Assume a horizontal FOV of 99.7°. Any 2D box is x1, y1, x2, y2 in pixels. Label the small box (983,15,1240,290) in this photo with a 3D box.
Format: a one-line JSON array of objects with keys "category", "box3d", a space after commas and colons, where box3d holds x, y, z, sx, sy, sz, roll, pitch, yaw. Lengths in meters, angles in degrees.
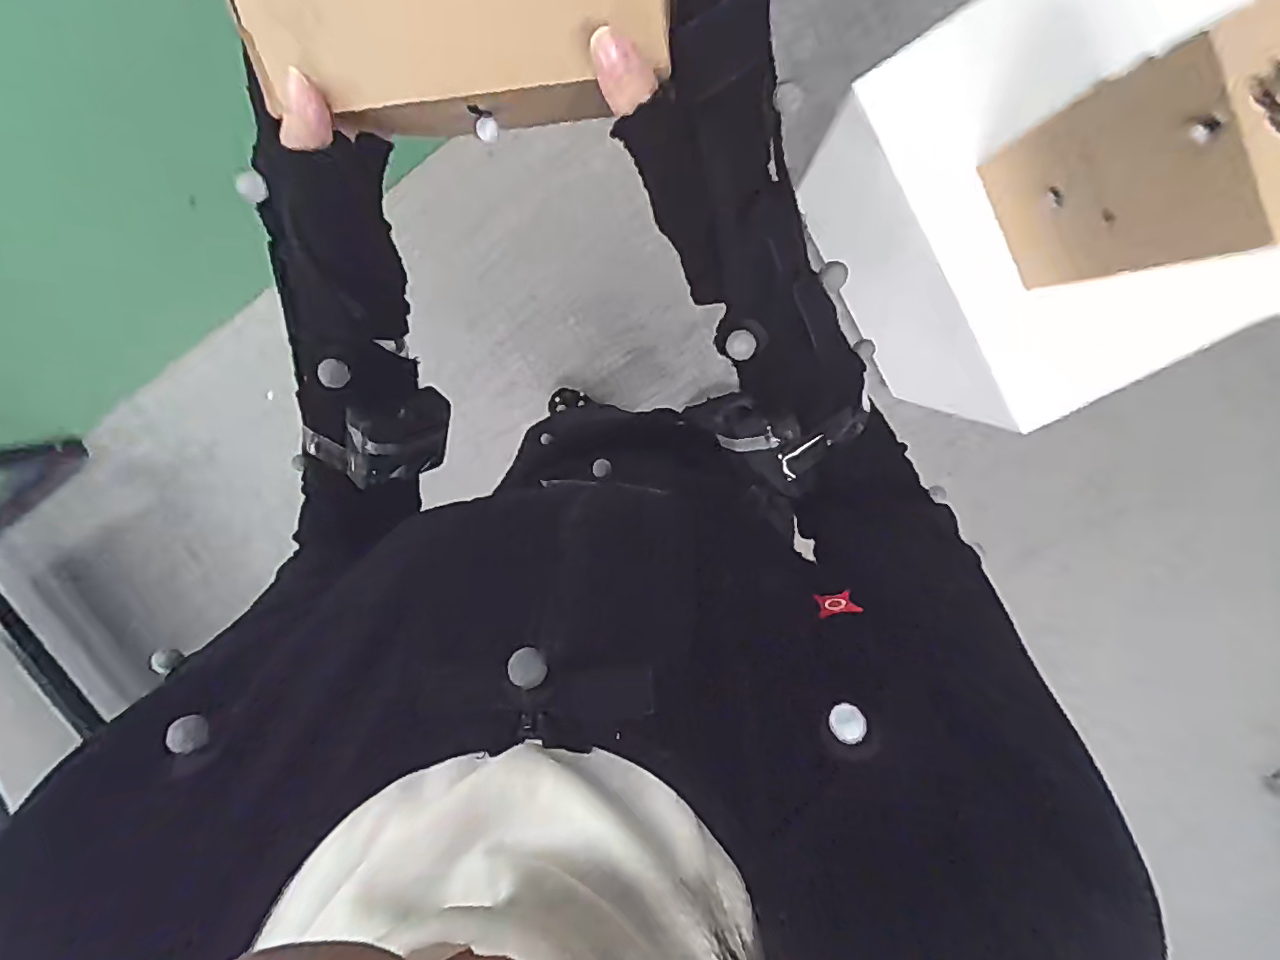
[{"category": "small box", "box3d": [0.521, -0.333, 0.596, 0.168, 0.176, 0.179, -27, 99, 13]}]
